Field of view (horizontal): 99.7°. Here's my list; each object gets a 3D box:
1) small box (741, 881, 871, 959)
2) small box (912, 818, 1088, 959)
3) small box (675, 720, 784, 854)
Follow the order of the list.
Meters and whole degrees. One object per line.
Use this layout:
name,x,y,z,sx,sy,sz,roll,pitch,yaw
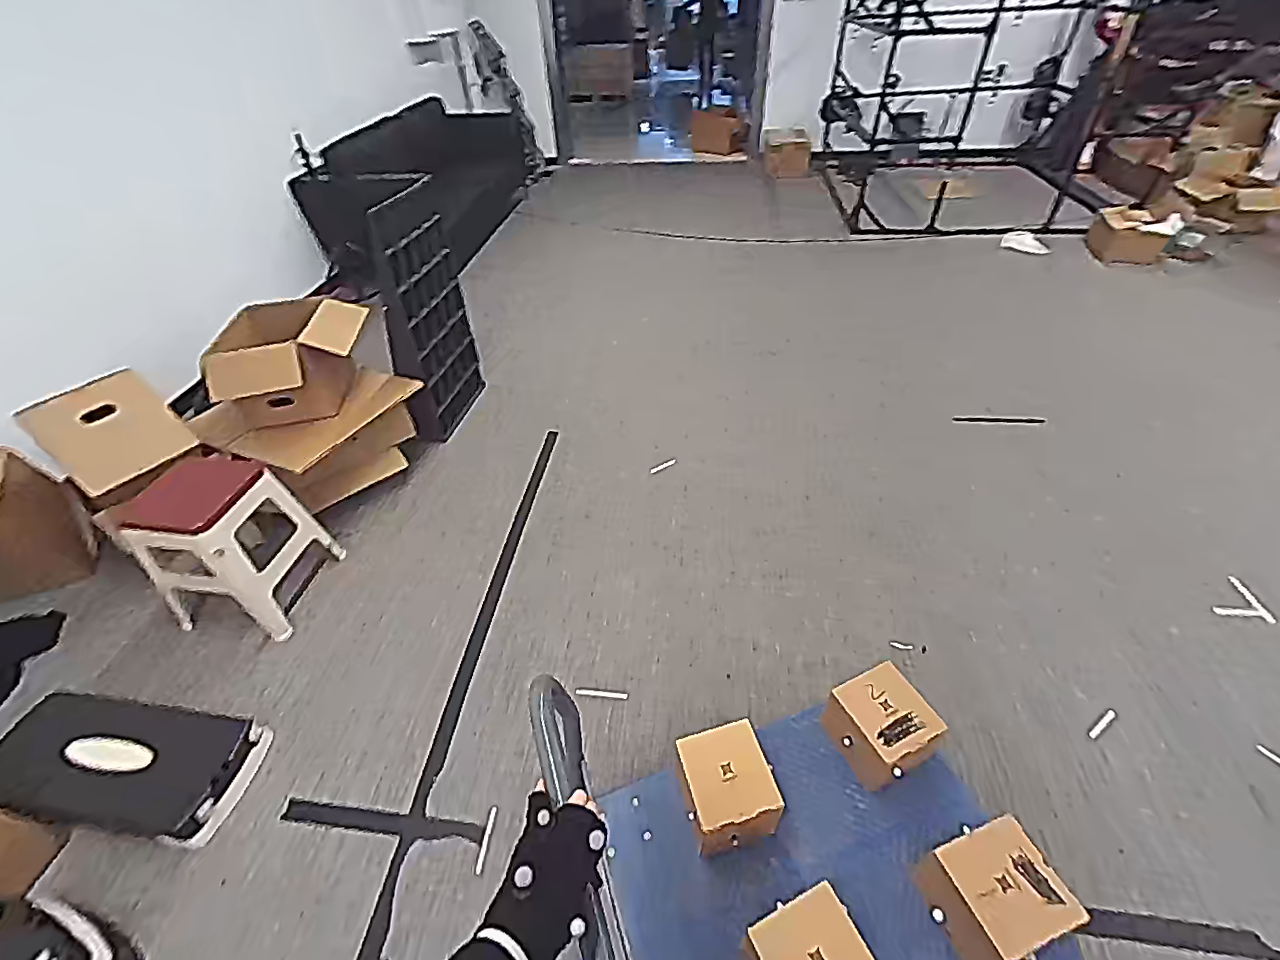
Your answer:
small box,0.285,0.830,0.909,0.168,0.176,0.179,-18,44,-16
small box,0.632,0.752,0.975,0.179,0.176,0.168,-15,44,-12
small box,0.175,0.639,1.127,0.168,0.176,0.179,-12,45,-10
